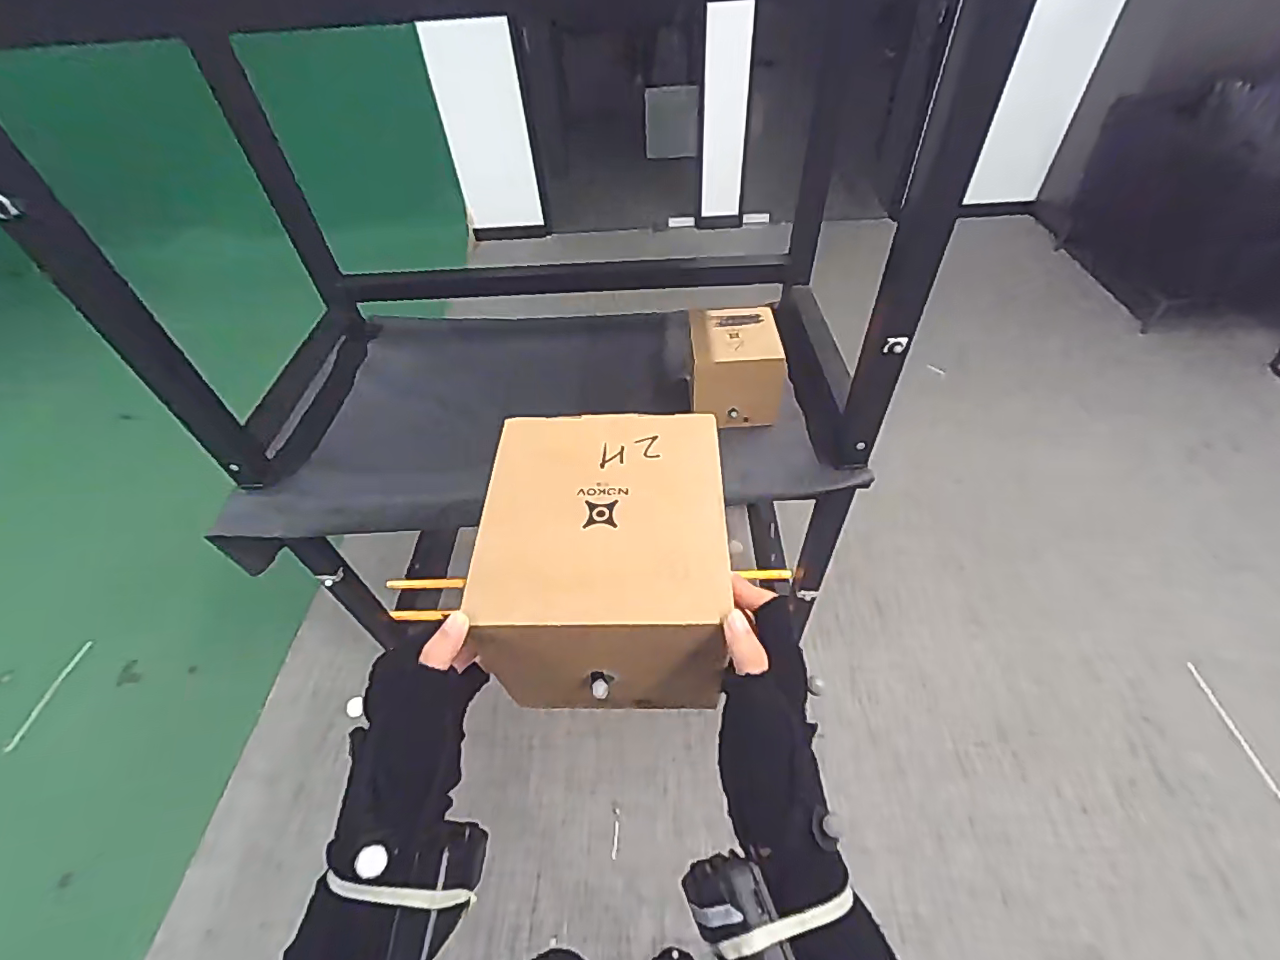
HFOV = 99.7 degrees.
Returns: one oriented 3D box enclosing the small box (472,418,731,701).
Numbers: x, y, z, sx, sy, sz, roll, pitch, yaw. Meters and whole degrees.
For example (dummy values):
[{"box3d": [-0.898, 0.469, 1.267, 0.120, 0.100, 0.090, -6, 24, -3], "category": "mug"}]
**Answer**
[{"box3d": [-0.019, 0.070, 0.443, 0.168, 0.176, 0.179, -1, 51, 2], "category": "small box"}]
